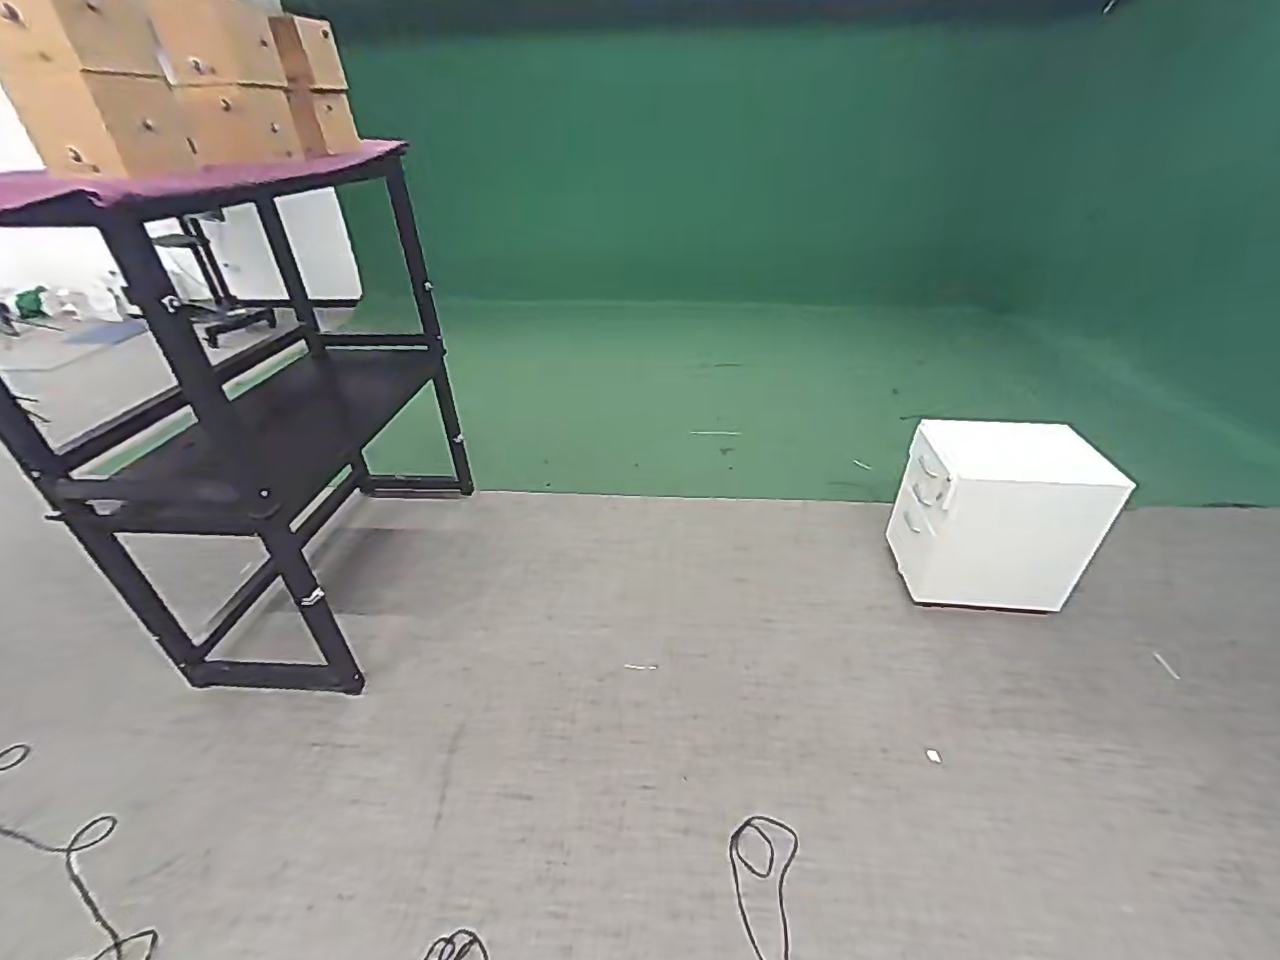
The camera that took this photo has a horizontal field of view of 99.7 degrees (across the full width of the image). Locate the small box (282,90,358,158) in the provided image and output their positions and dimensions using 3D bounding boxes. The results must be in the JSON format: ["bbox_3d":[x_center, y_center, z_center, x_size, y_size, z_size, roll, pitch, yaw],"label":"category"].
[{"bbox_3d":[-1.015,-1.100,1.677,0.168,0.176,0.179,4,35,10],"label":"small box"}]

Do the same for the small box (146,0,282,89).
[{"bbox_3d":[-1.002,-1.036,1.294,0.168,0.176,0.179,2,35,6],"label":"small box"}]

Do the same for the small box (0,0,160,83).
[{"bbox_3d":[-1.018,-0.810,0.952,0.168,0.176,0.179,3,35,5],"label":"small box"}]

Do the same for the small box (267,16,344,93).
[{"bbox_3d":[-1.007,-1.232,1.582,0.168,0.176,0.179,1,35,6],"label":"small box"}]

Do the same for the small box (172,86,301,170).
[{"bbox_3d":[-1.012,-0.896,1.377,0.179,0.176,0.168,3,33,6],"label":"small box"}]
